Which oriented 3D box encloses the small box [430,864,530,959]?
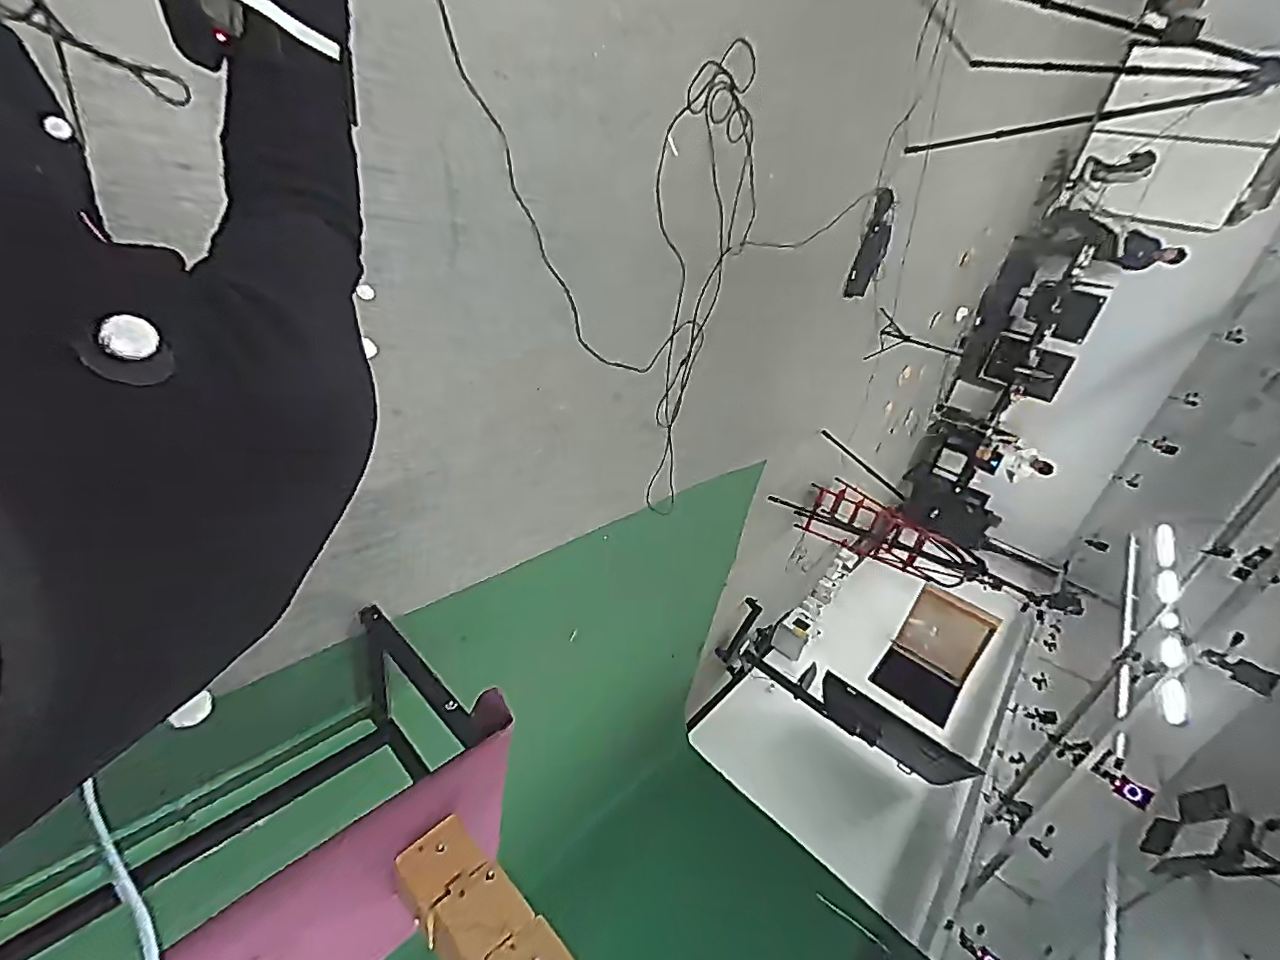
[{"bbox_3d":[-0.390,1.081,1.306,0.168,0.176,0.179,-17,129,-46],"label":"small box"}]

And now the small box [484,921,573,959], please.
[{"bbox_3d":[-0.271,1.154,1.219,0.168,0.176,0.179,7,108,-54],"label":"small box"}]

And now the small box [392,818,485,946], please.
[{"bbox_3d":[-0.518,1.025,1.394,0.168,0.176,0.179,-22,132,-43],"label":"small box"}]
